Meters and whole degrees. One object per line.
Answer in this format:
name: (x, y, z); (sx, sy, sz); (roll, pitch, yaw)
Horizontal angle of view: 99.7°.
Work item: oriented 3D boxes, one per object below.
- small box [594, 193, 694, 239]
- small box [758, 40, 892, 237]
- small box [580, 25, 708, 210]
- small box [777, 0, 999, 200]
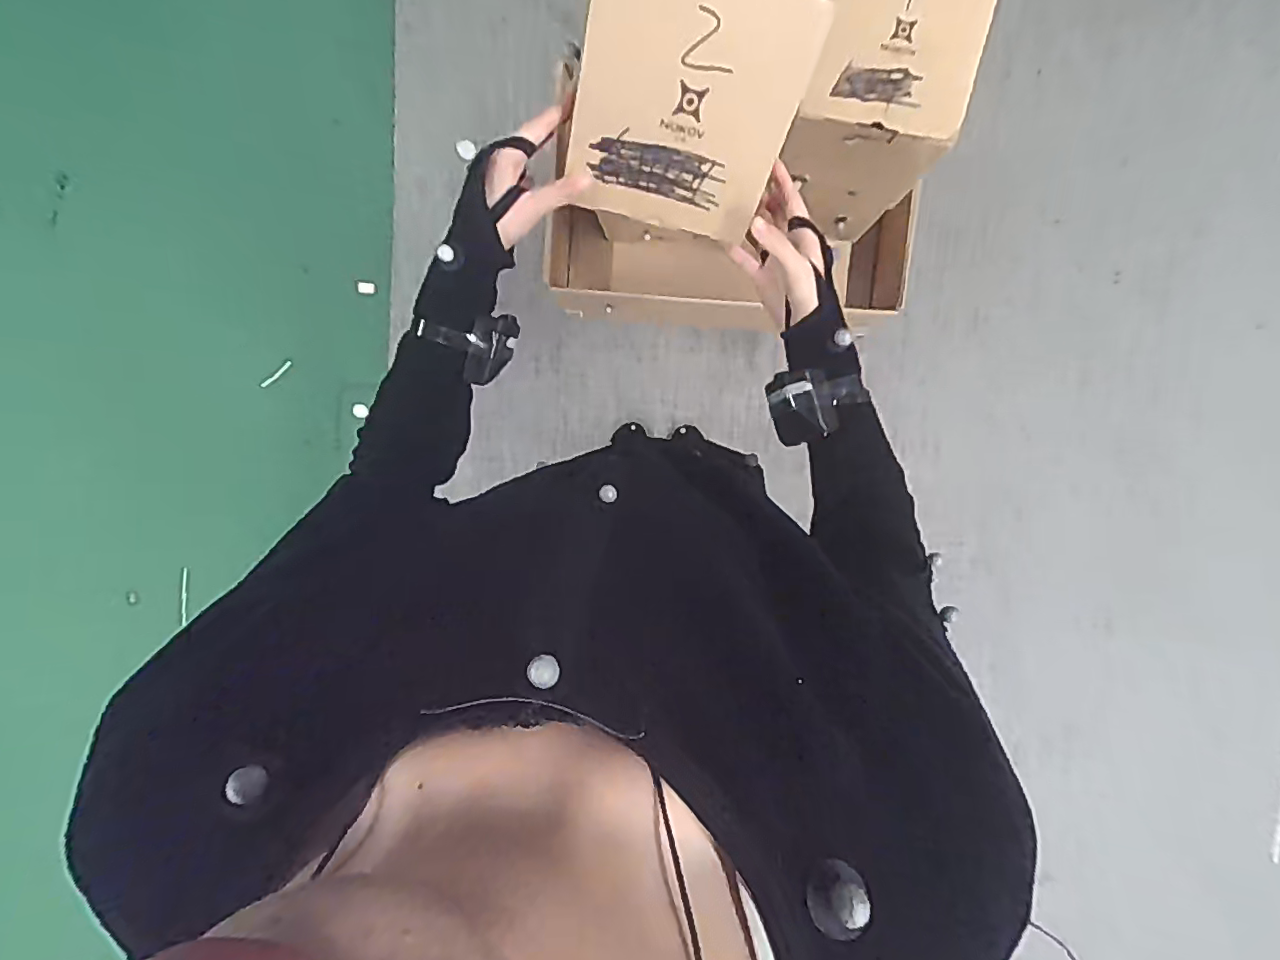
small box: (0.015, -0.542, 0.948); (0.168, 0.176, 0.179); (2, 96, 5)
small box: (0.273, -0.470, 0.773); (0.168, 0.176, 0.179); (11, 97, 3)
small box: (0.010, -0.510, 0.787); (0.168, 0.176, 0.179); (2, 97, 4)
small box: (0.264, -0.448, 0.611); (0.168, 0.176, 0.179); (14, 96, 2)
